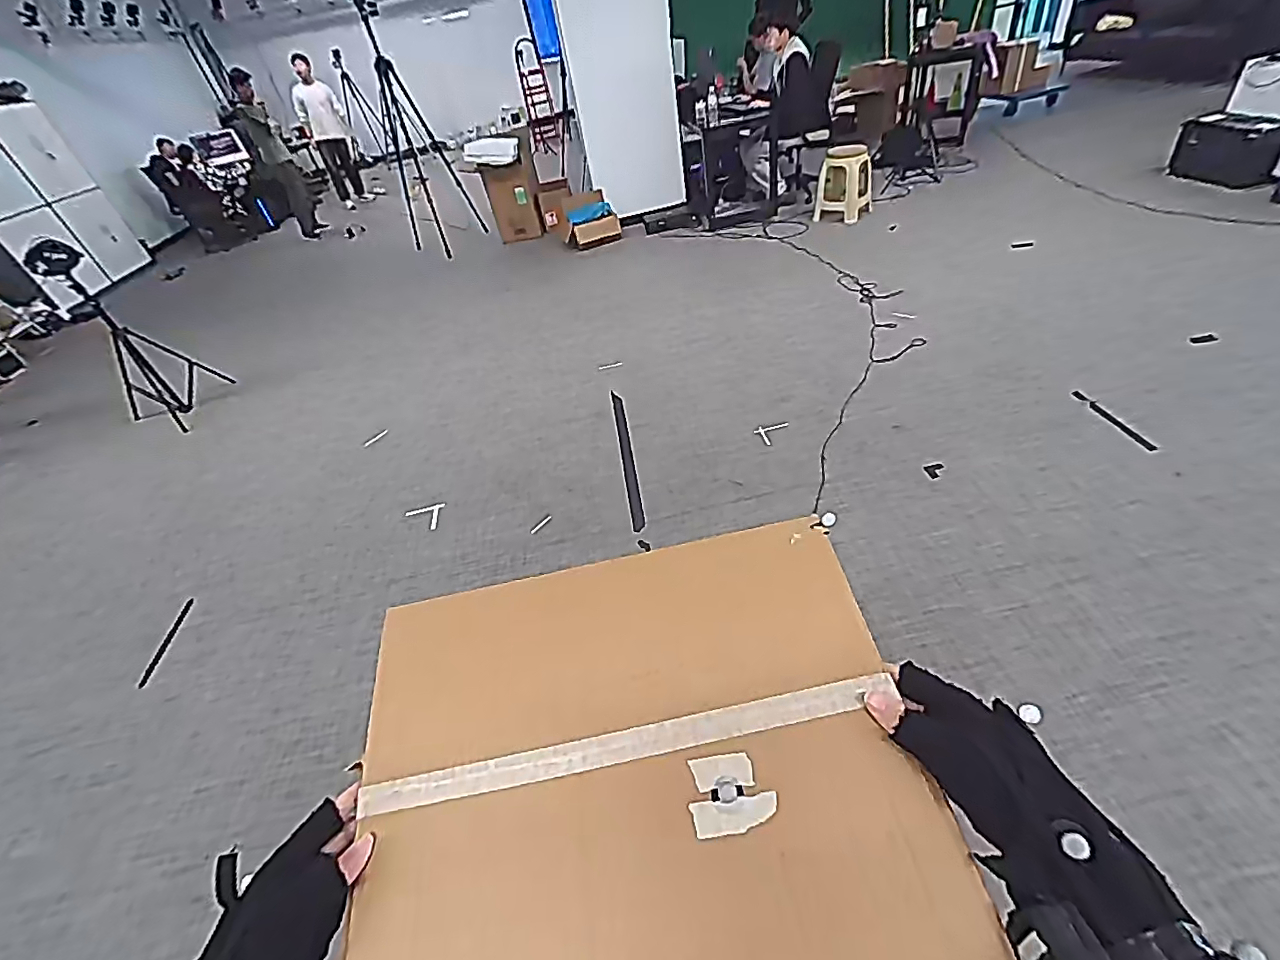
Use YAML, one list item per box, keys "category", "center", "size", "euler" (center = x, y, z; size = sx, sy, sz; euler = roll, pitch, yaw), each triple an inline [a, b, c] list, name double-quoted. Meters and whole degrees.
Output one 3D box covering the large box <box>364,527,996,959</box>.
- category: "large box"
  center: [0.015, 0.295, 0.528]
  size: [0.408, 0.320, 0.320]
  euler: [-13, 53, 0]
